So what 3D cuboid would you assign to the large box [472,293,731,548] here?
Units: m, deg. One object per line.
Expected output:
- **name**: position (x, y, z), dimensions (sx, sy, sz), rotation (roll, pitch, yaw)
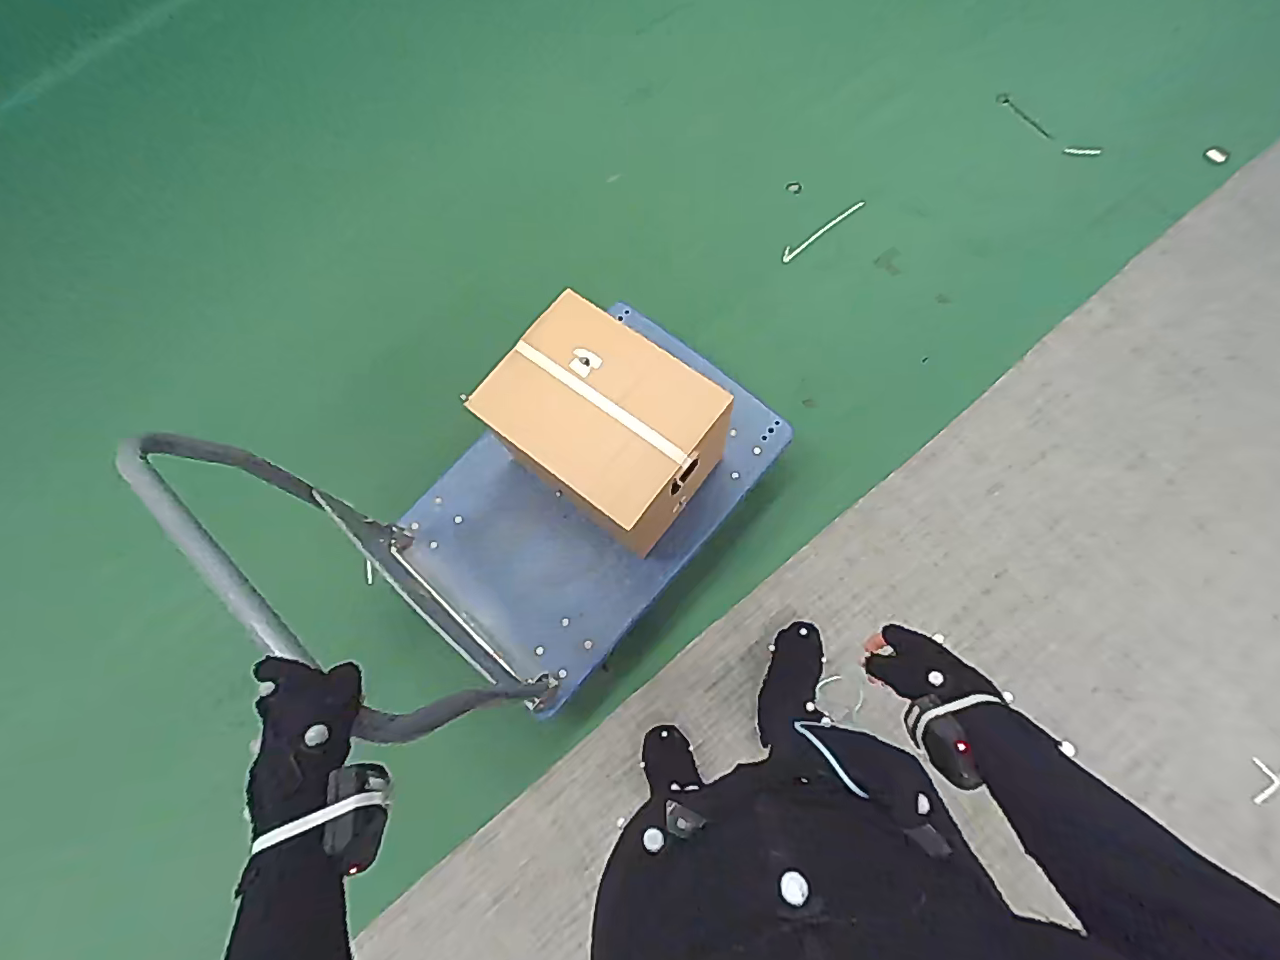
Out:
- **large box**: position (-0.060, -0.108, 1.151), dimensions (0.408, 0.320, 0.320), rotation (35, 79, 15)
